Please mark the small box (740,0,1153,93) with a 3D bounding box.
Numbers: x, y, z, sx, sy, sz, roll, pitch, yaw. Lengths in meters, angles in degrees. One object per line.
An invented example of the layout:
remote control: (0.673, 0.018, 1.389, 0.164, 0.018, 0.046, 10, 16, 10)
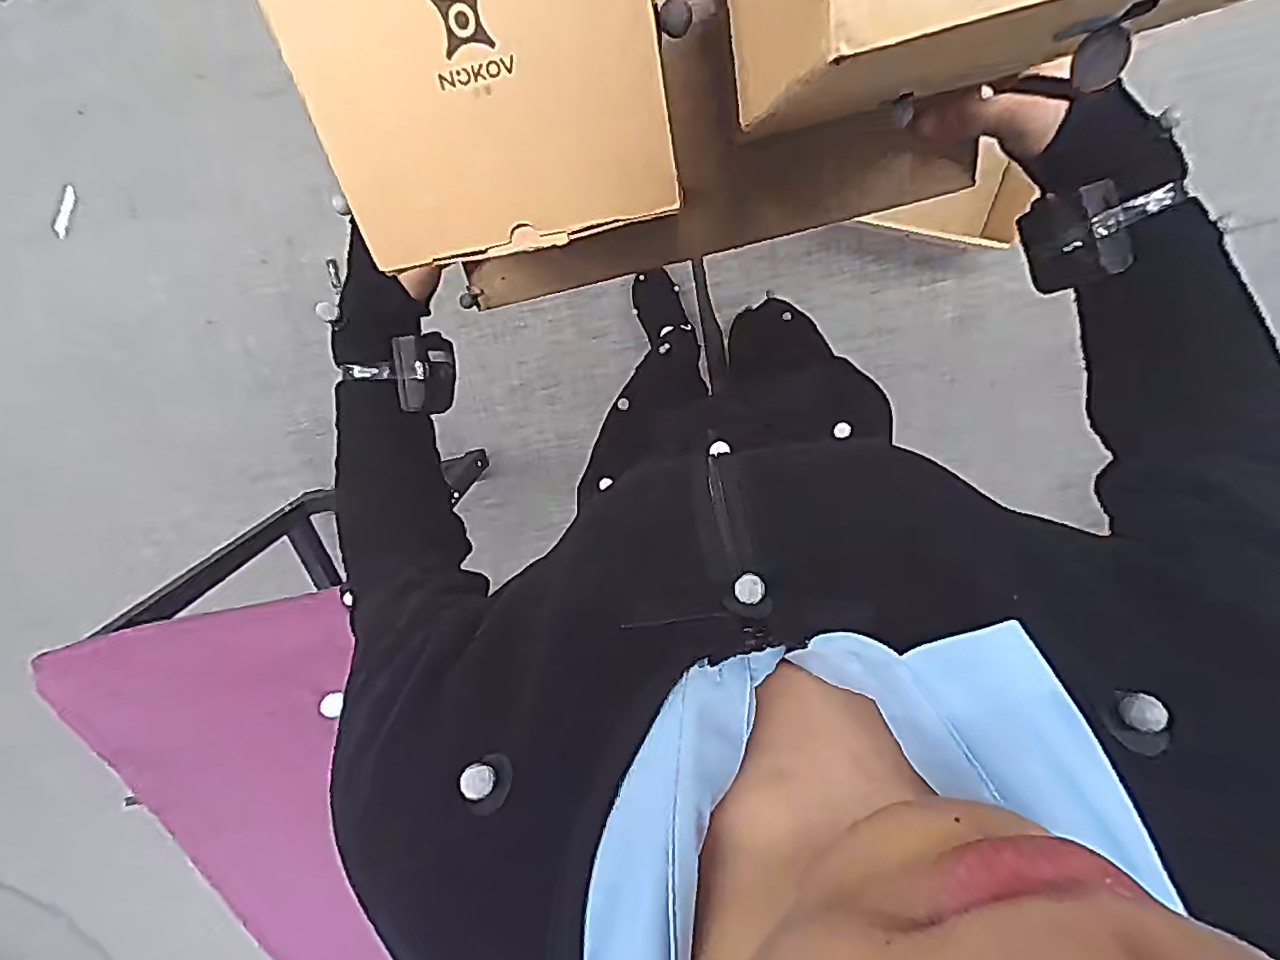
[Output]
small box: (0.110, -0.211, 0.121, 0.179, 0.176, 0.168, -9, 118, 8)
